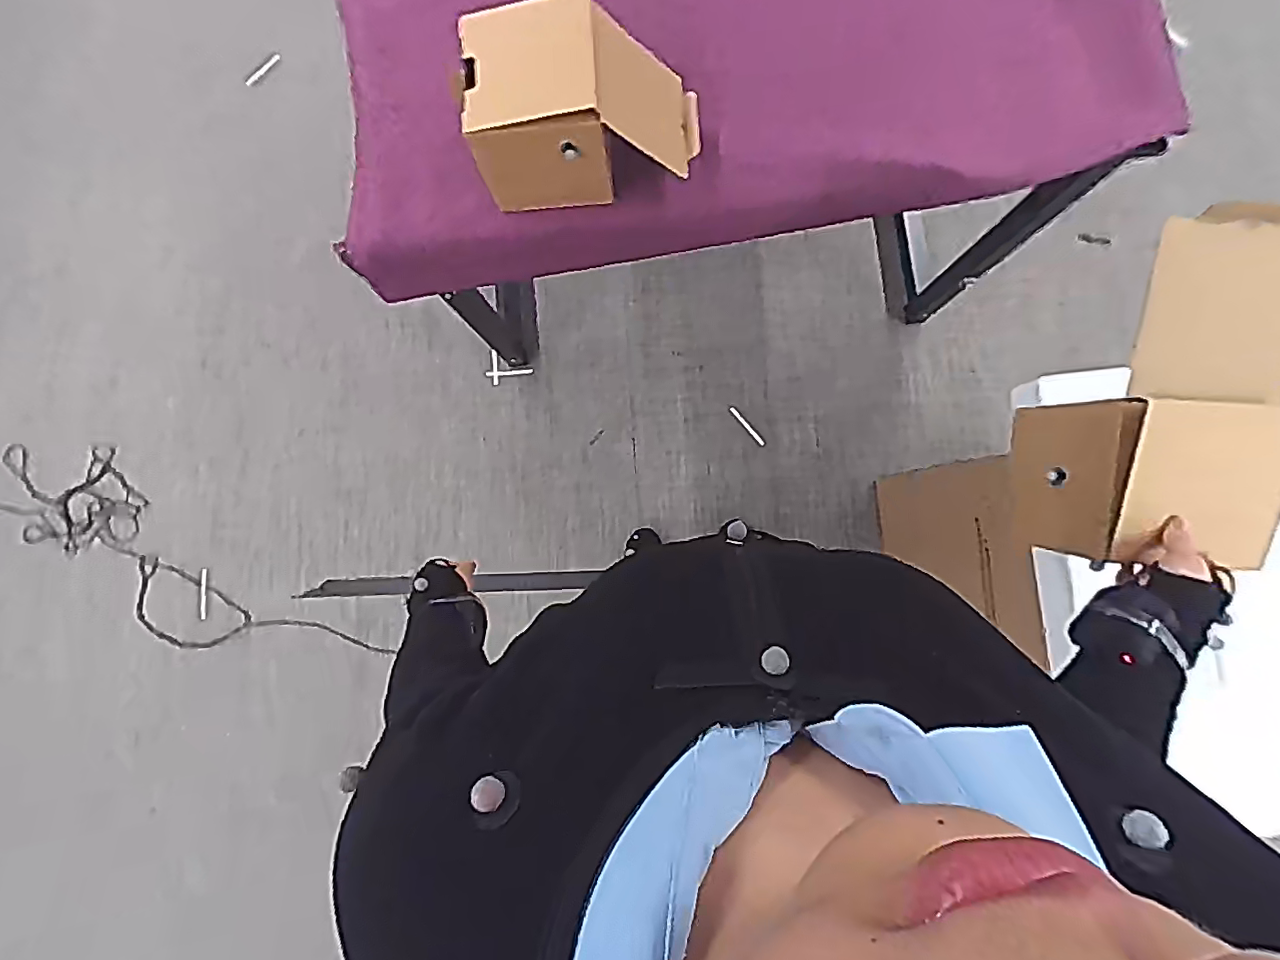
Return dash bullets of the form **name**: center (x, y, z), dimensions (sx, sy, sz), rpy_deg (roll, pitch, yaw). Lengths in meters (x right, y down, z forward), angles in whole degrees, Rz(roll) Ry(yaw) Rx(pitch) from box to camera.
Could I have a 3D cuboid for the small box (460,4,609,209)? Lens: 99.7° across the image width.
- **small box**: center (-0.137, -0.509, 0.760), dimensions (0.179, 0.176, 0.168), rpy_deg (-4, 83, 3)
